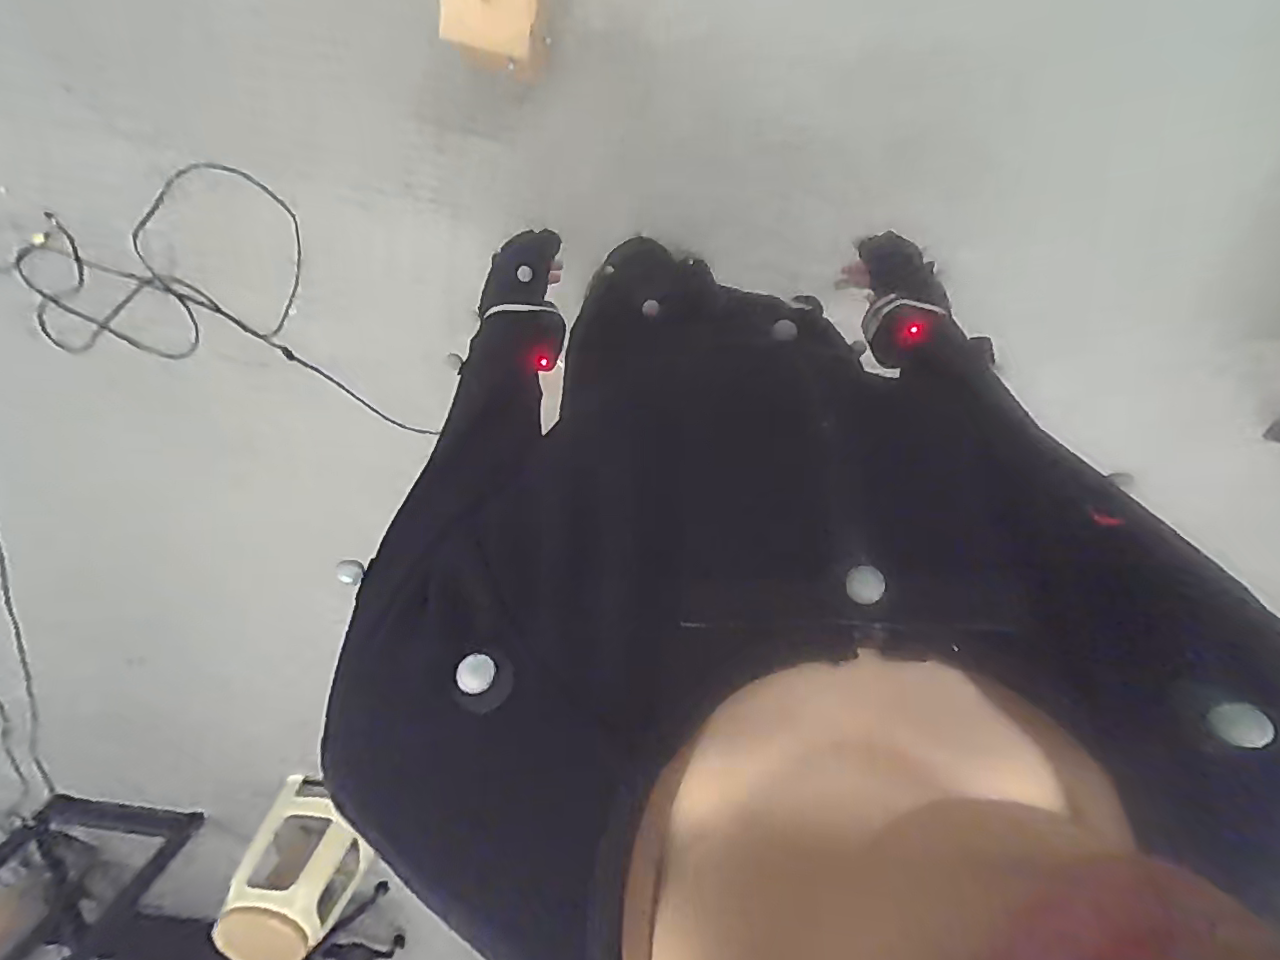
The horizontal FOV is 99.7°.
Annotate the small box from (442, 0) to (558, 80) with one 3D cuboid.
[{"bbox_3d":[-0.272,-0.930,1.074,0.179,0.176,0.168,11,112,-2],"label":"small box"}]
